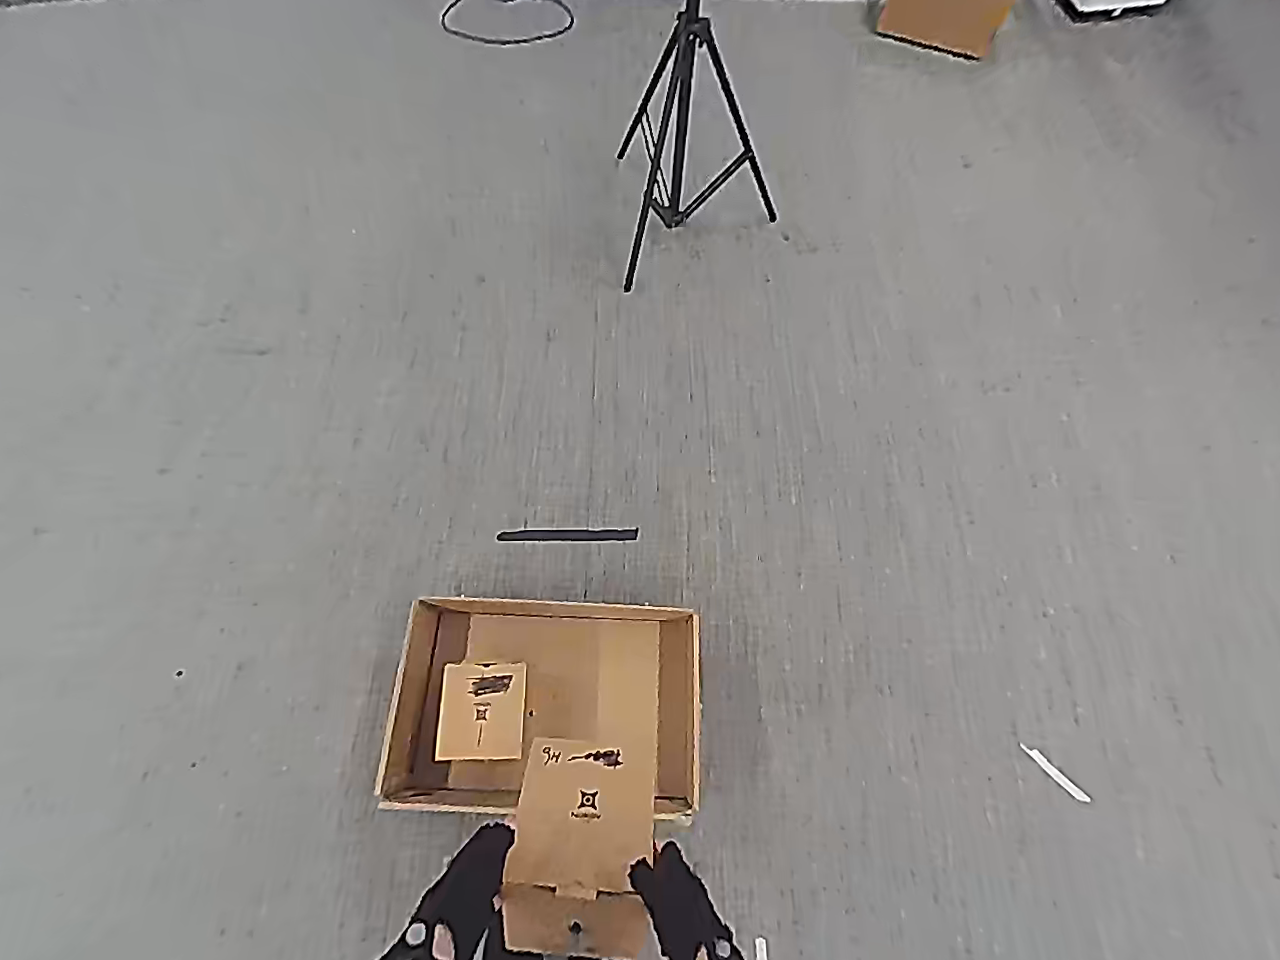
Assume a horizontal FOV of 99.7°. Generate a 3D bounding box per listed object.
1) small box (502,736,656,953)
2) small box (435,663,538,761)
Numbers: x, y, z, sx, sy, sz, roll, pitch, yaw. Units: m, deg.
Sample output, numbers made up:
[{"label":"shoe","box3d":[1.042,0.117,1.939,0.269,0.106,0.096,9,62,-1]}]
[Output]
[{"label":"small box","box3d":[-0.069,0.462,0.689,0.168,0.176,0.179,5,31,-1]},{"label":"small box","box3d":[-0.308,0.480,1.122,0.168,0.176,0.179,0,67,-2]}]
